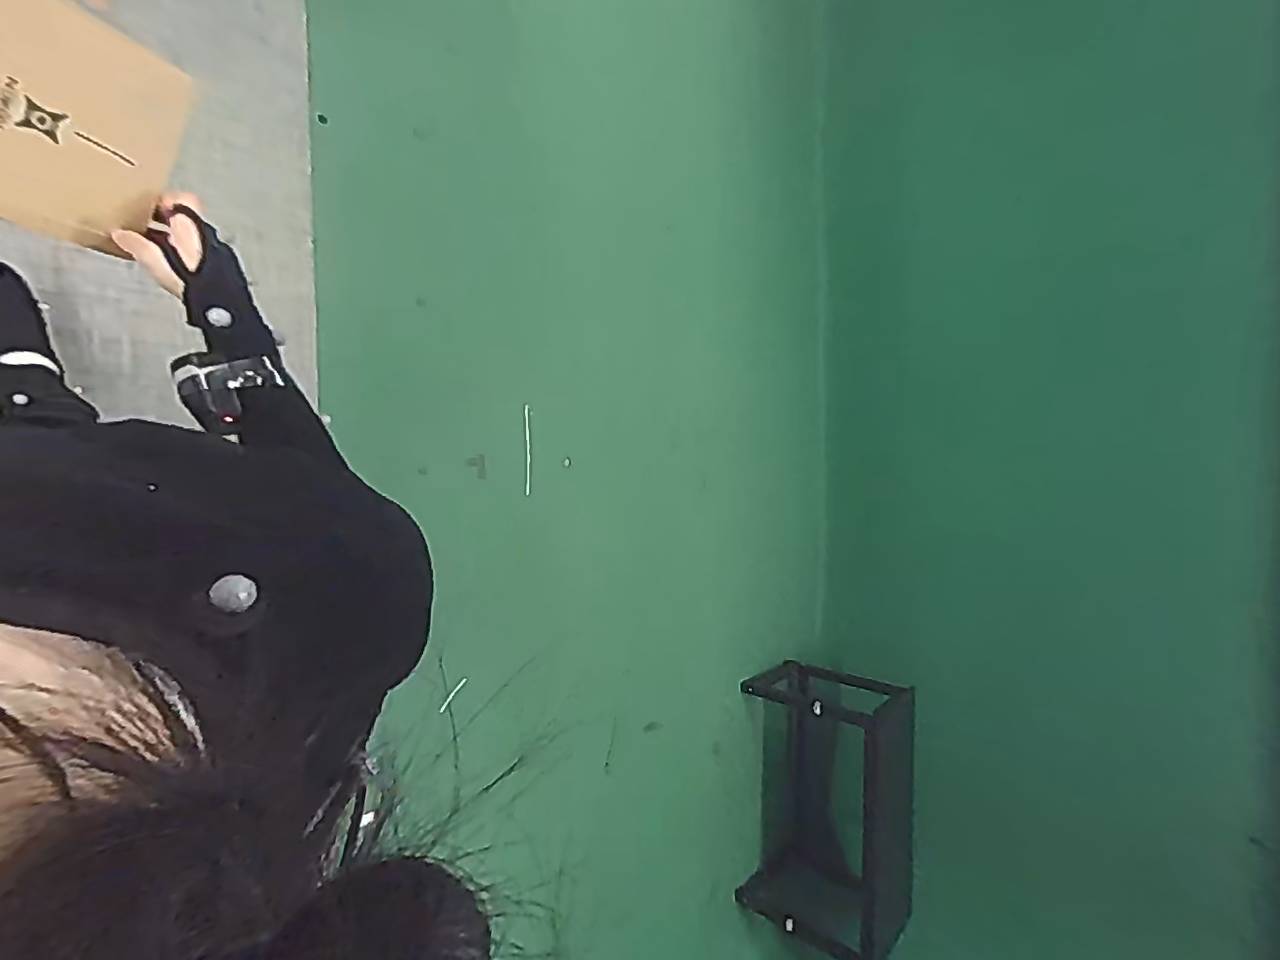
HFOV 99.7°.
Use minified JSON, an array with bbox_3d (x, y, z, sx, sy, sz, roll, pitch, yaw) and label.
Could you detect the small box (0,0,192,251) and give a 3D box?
[{"bbox_3d":[-0.496,-0.307,0.395,0.168,0.176,0.179,-59,163,10],"label":"small box"}]
